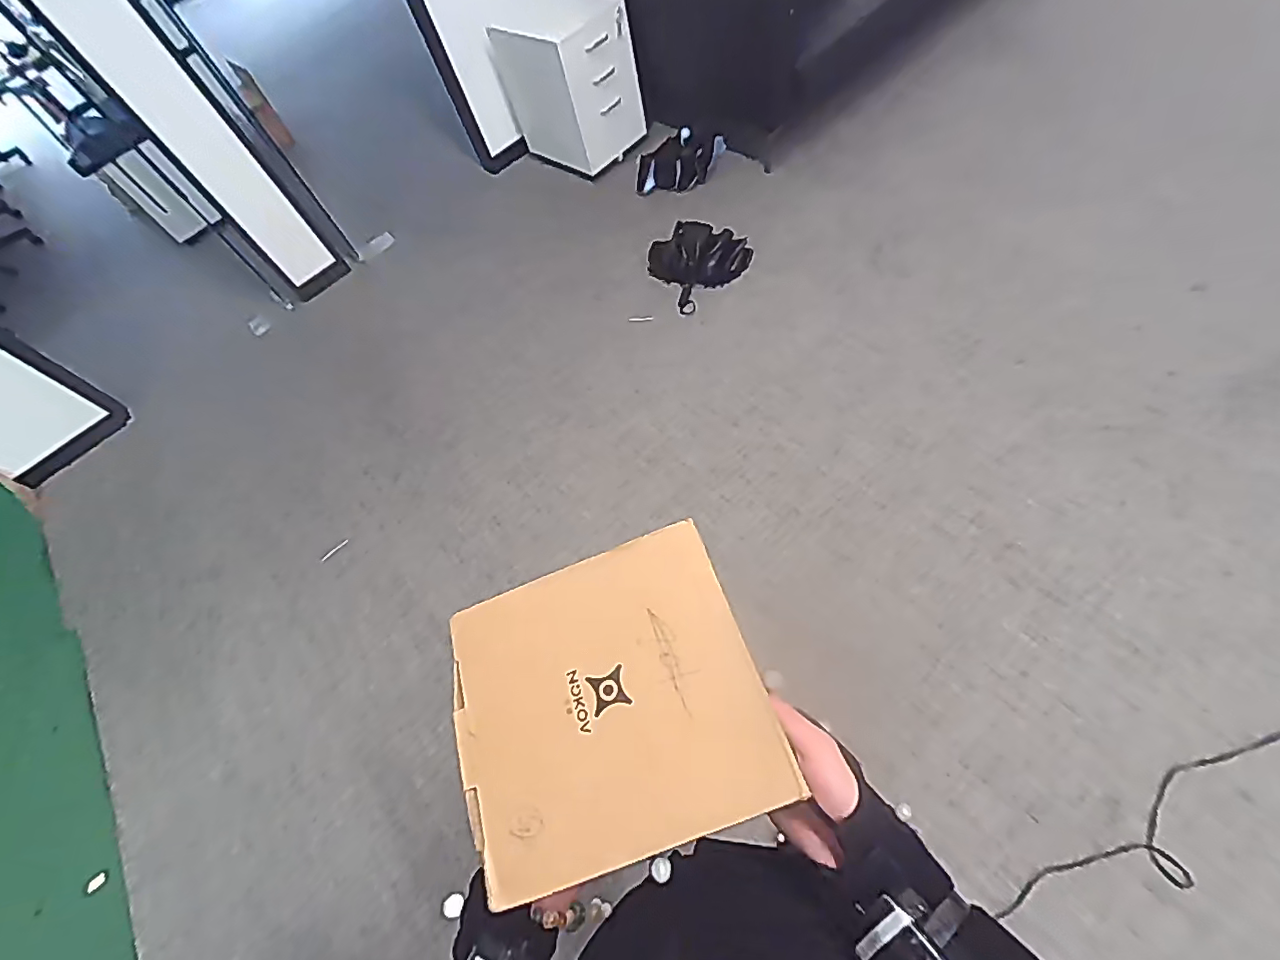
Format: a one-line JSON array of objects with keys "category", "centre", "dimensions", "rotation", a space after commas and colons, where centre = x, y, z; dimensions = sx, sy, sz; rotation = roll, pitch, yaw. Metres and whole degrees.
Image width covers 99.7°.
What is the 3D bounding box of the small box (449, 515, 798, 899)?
[{"category": "small box", "centre": [-0.004, 0.156, 0.382], "dimensions": [0.179, 0.176, 0.168], "rotation": [-23, 60, 2]}]
